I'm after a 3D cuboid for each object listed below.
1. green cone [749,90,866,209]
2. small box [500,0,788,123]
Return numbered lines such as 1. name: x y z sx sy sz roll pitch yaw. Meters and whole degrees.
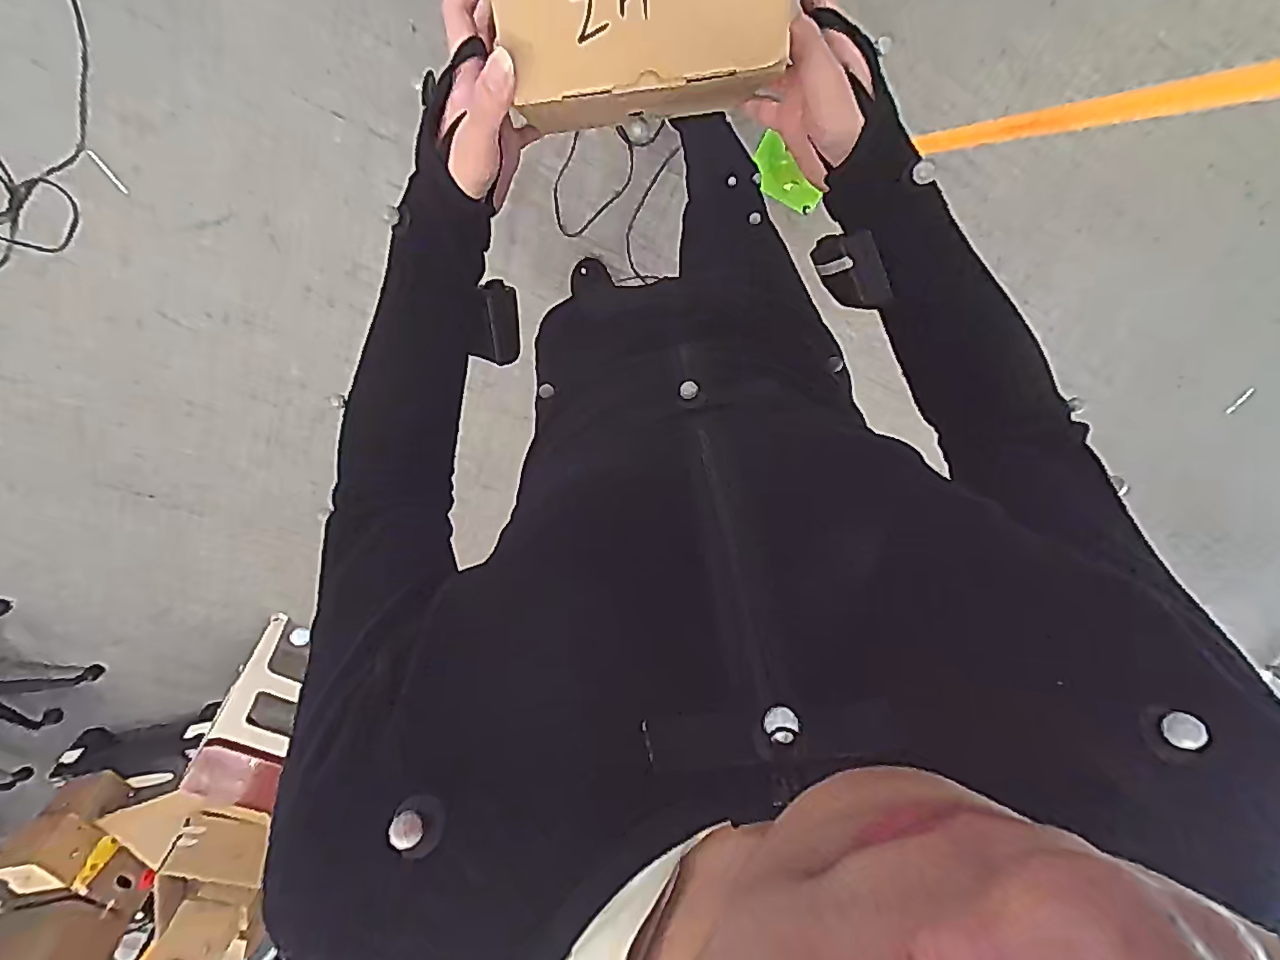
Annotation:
1. green cone: 0.399 -0.705 1.158 0.202 0.368 0.200 21 117 -15
2. small box: -0.006 -0.352 0.351 0.168 0.176 0.179 -6 119 1
